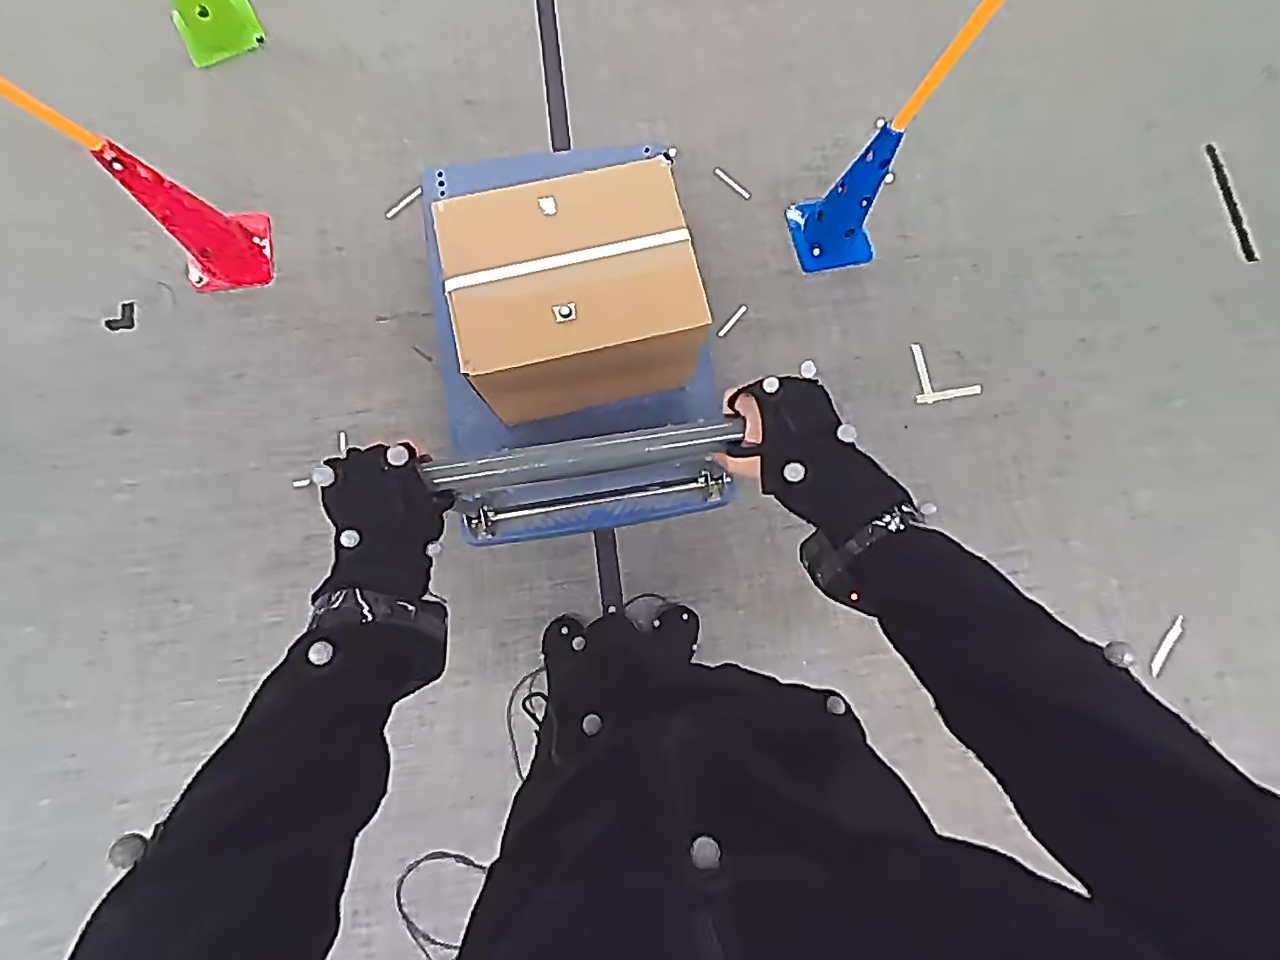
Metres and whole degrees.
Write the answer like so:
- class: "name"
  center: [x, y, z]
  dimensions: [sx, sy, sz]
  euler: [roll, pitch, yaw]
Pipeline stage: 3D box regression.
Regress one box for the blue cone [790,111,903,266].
- class: "blue cone"
  center: [0.514, -0.691, 1.276]
  dimensions: [0.193, 0.380, 0.192]
  euler: [-11, 80, -4]
